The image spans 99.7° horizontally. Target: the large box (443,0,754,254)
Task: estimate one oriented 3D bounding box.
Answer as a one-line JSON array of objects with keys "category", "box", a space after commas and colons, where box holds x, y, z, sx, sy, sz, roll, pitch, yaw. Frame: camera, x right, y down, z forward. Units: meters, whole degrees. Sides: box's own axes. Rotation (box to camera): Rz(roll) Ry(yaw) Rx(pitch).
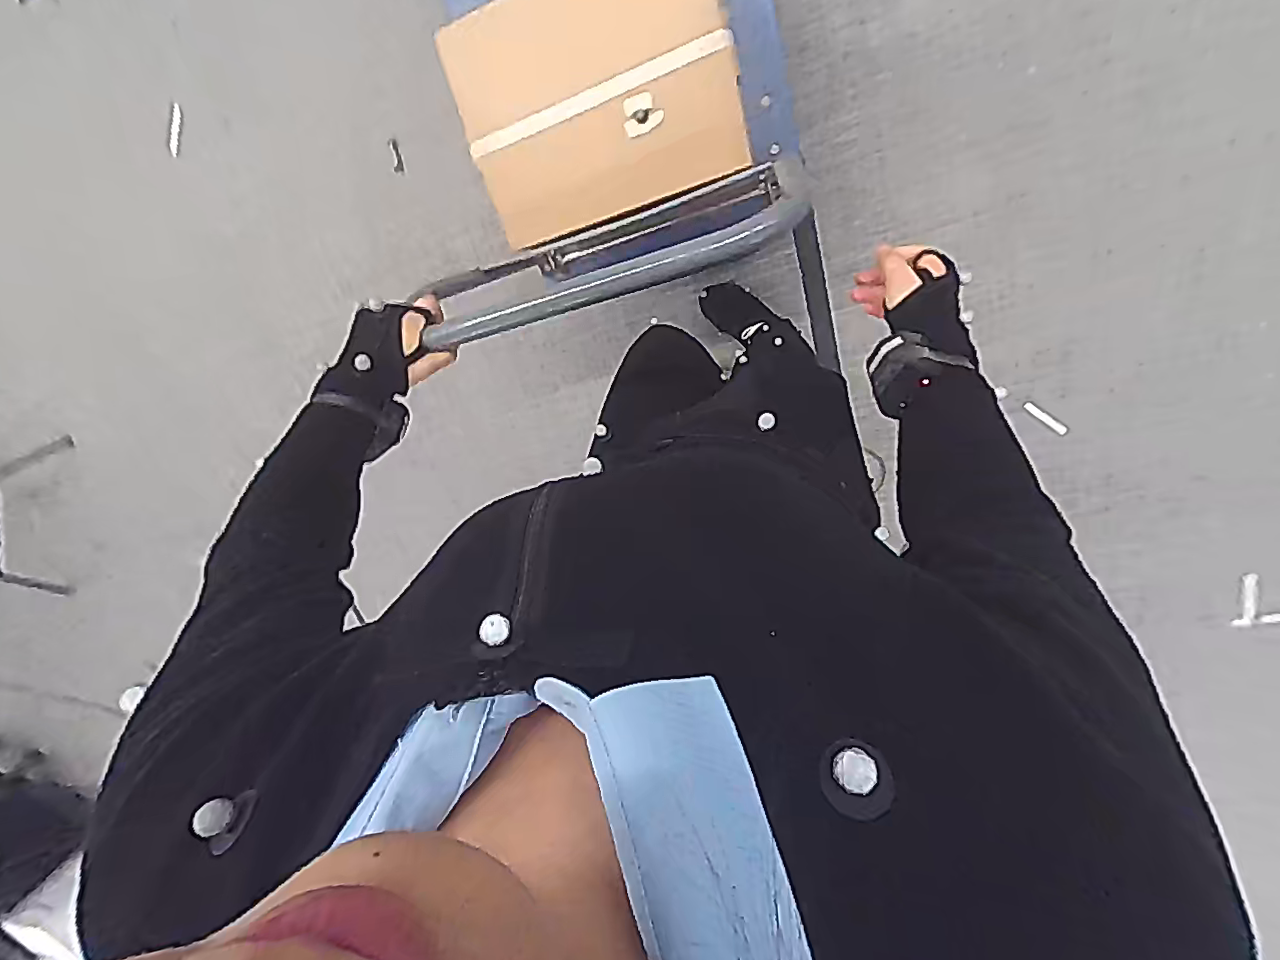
[{"category": "large box", "box": [-0.038, -0.613, 0.926, 0.408, 0.320, 0.320, -12, 112, 18]}]
